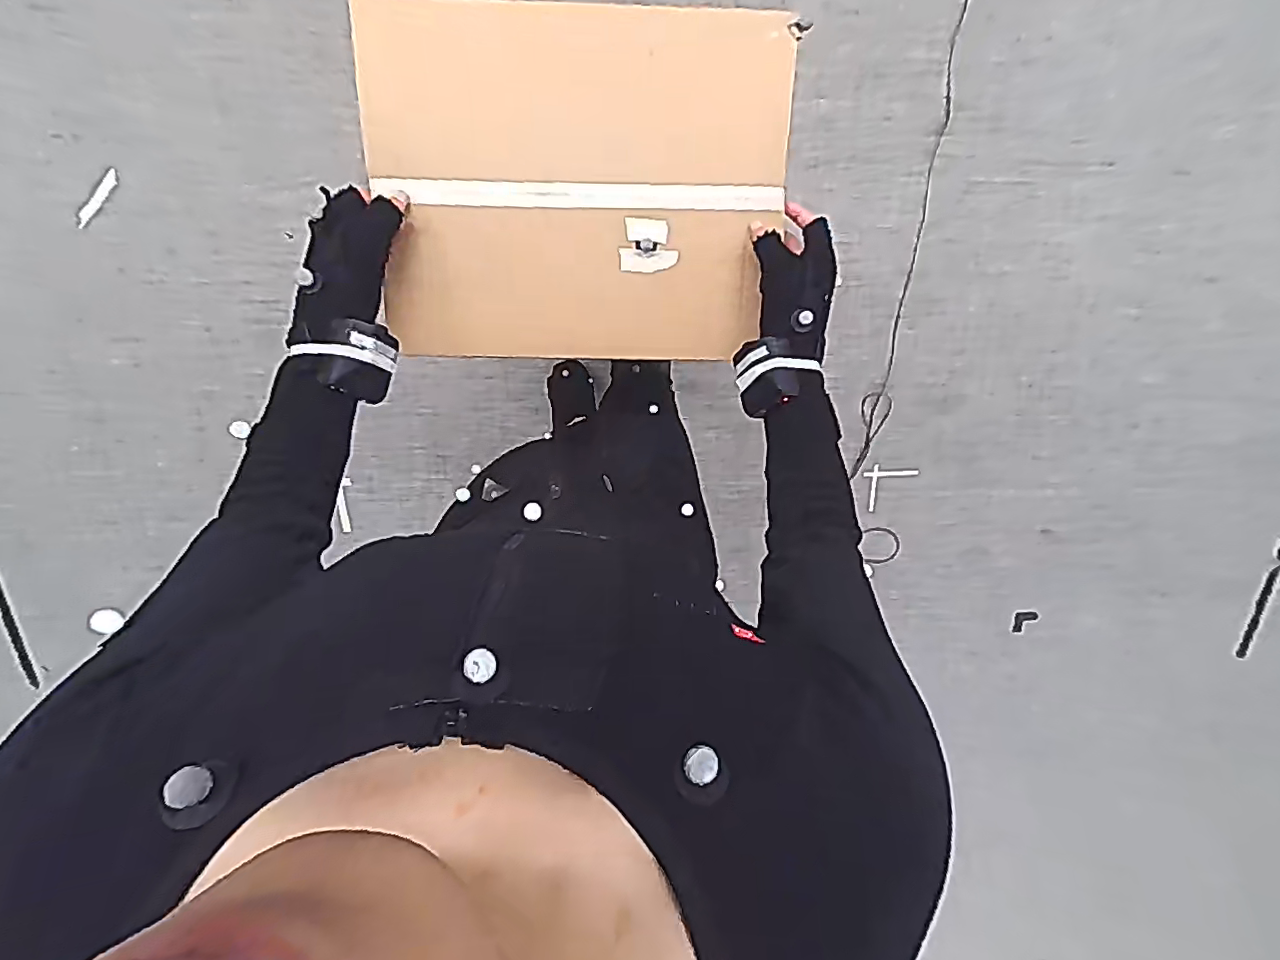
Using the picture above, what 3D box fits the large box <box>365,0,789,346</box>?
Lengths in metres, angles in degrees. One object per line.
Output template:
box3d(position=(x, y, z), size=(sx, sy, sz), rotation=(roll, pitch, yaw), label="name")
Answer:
box3d(position=(-0.064, -0.340, 0.689), size=(0.408, 0.320, 0.320), rotation=(-1, 107, -3), label="large box")
